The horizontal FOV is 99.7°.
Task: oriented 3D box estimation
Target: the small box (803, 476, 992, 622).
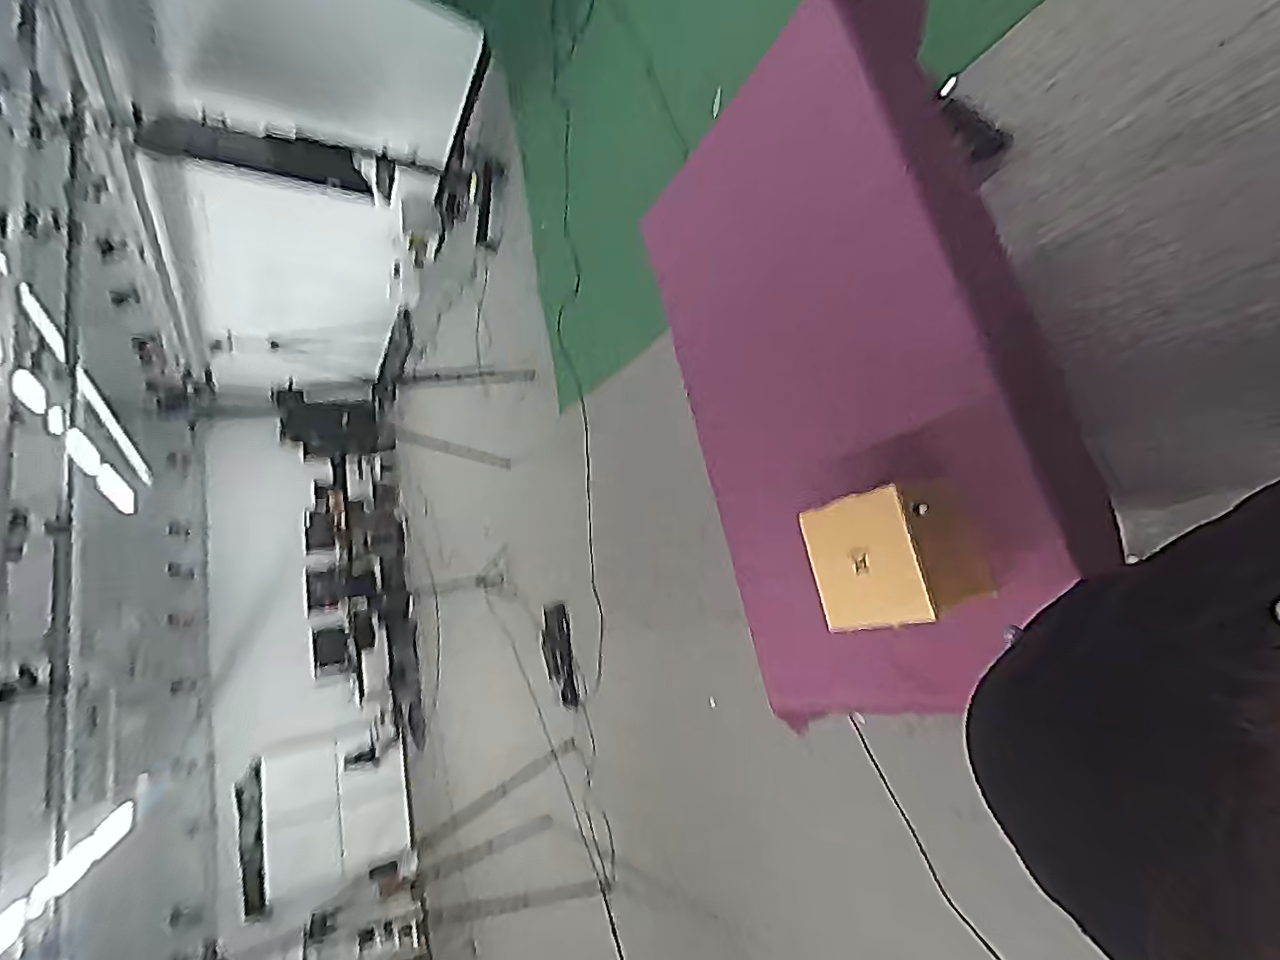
[{"bbox_3d":[0.377,0.100,0.796,0.168,0.176,0.179,-31,66,53],"label":"small box"}]
